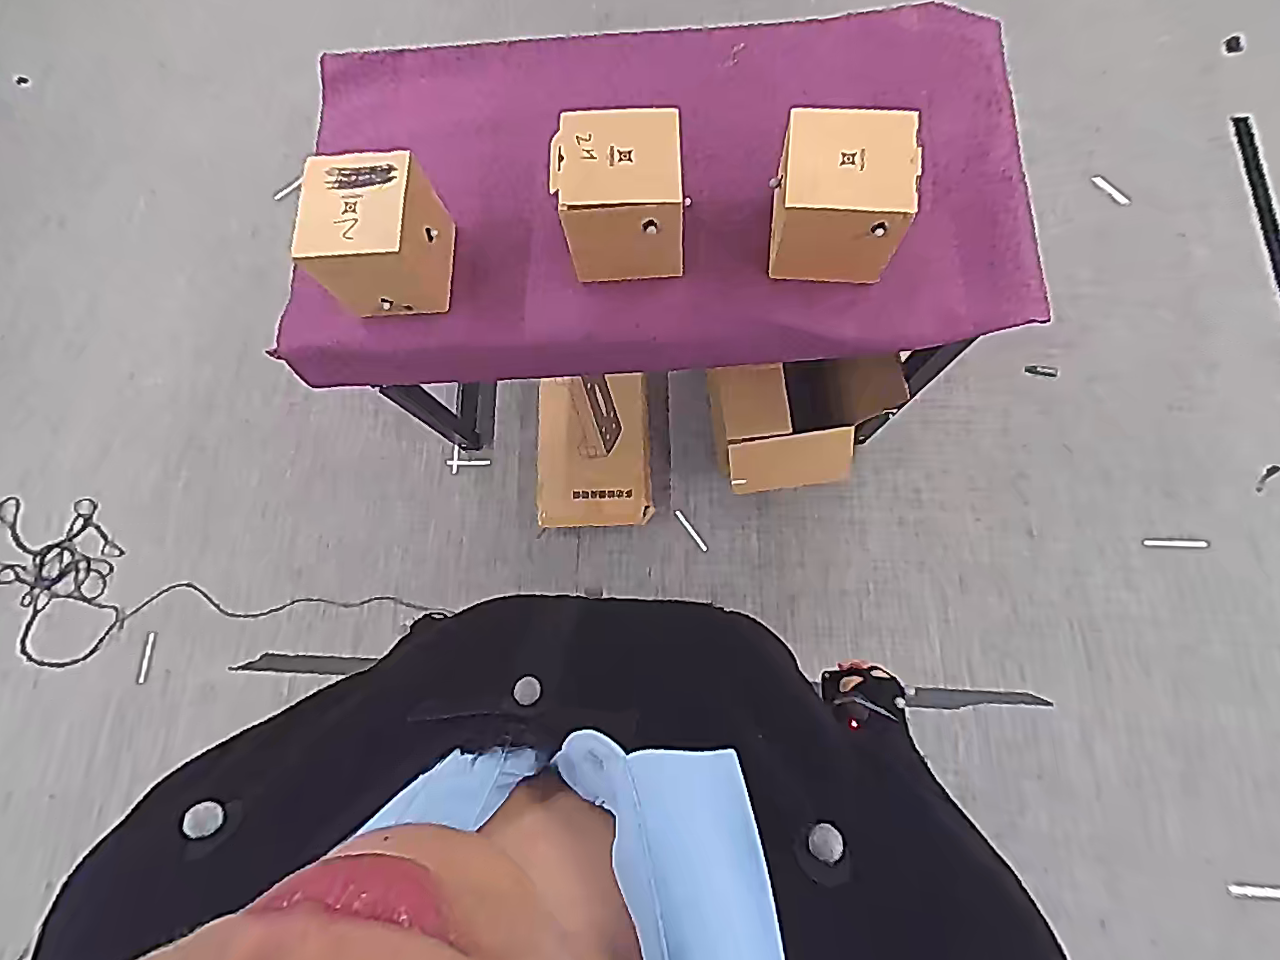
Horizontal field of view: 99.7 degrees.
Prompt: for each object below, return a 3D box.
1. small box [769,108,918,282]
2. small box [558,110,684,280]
[{"bbox_3d":[0.295,-0.418,0.813,0.179,0.176,0.168,5,77,6],"label":"small box"},{"bbox_3d":[-0.022,-0.432,0.840,0.179,0.176,0.168,-2,74,4],"label":"small box"}]
